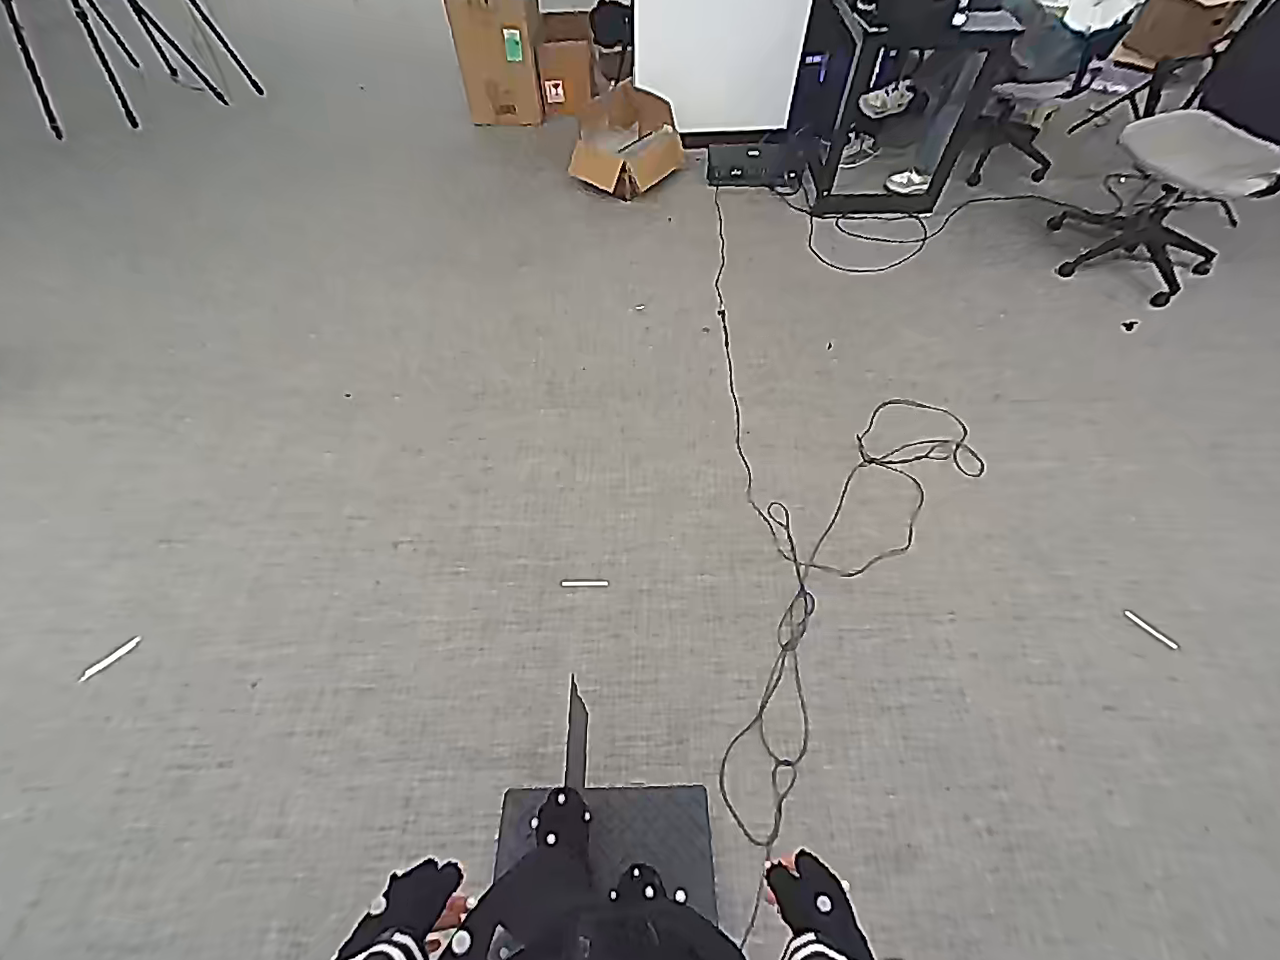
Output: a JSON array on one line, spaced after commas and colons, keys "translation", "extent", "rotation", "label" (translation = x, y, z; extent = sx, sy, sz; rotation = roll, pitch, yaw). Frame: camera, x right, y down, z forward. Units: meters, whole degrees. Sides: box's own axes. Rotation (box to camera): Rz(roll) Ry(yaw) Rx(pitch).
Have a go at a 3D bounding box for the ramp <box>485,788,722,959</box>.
[{"translation": [-0.074, 1.121, 0.978], "extent": [0.509, 0.206, 0.991], "rotation": [-3, 57, 0], "label": "ramp"}]
